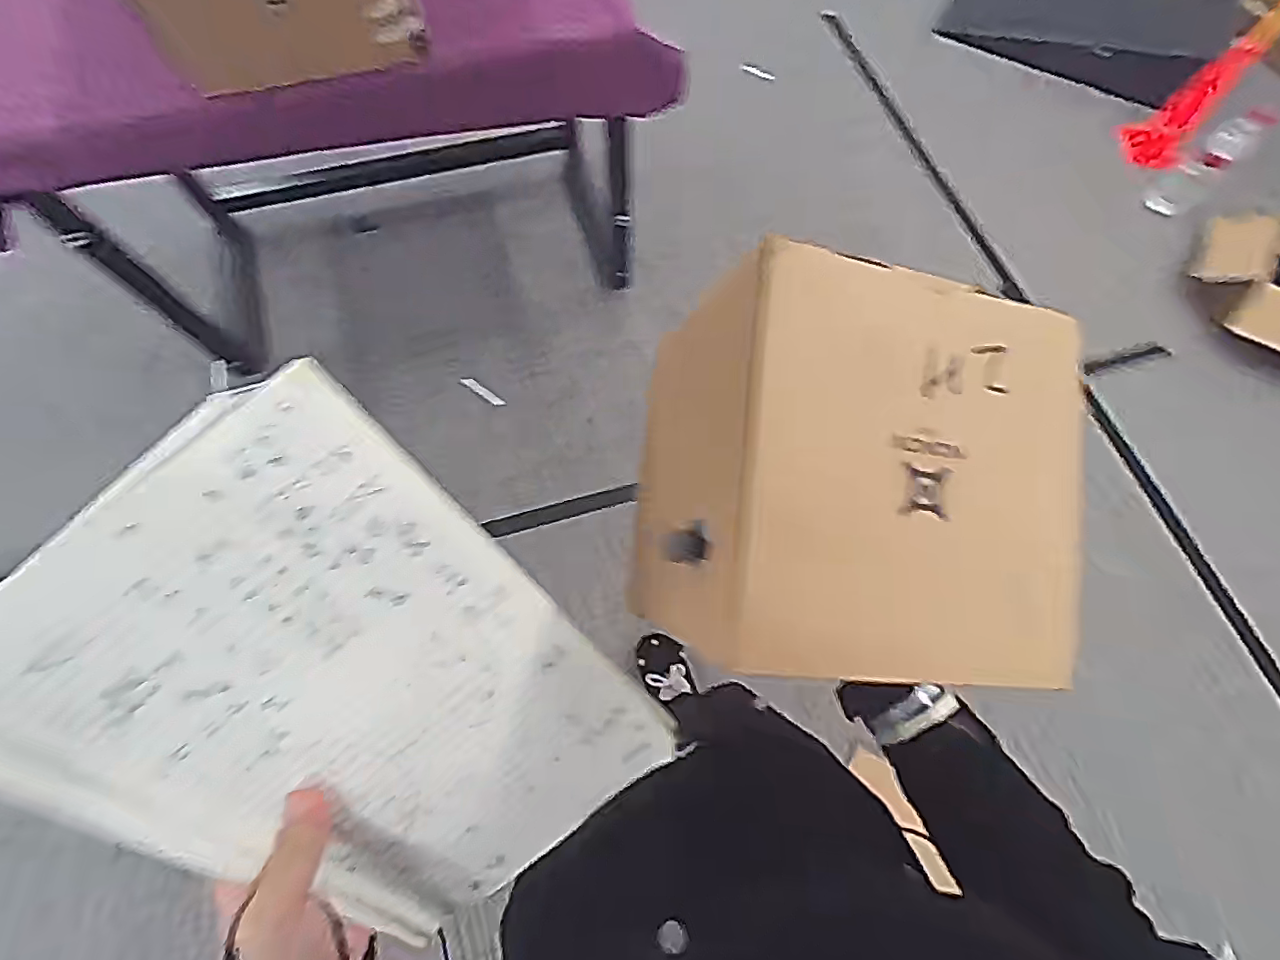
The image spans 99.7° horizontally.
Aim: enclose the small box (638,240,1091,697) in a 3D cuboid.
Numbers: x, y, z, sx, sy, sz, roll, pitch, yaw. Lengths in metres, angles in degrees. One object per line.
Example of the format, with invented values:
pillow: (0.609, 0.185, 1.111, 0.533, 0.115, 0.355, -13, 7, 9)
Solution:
small box: (0.102, 0.006, 0.303, 0.168, 0.176, 0.179, 7, 83, -15)
